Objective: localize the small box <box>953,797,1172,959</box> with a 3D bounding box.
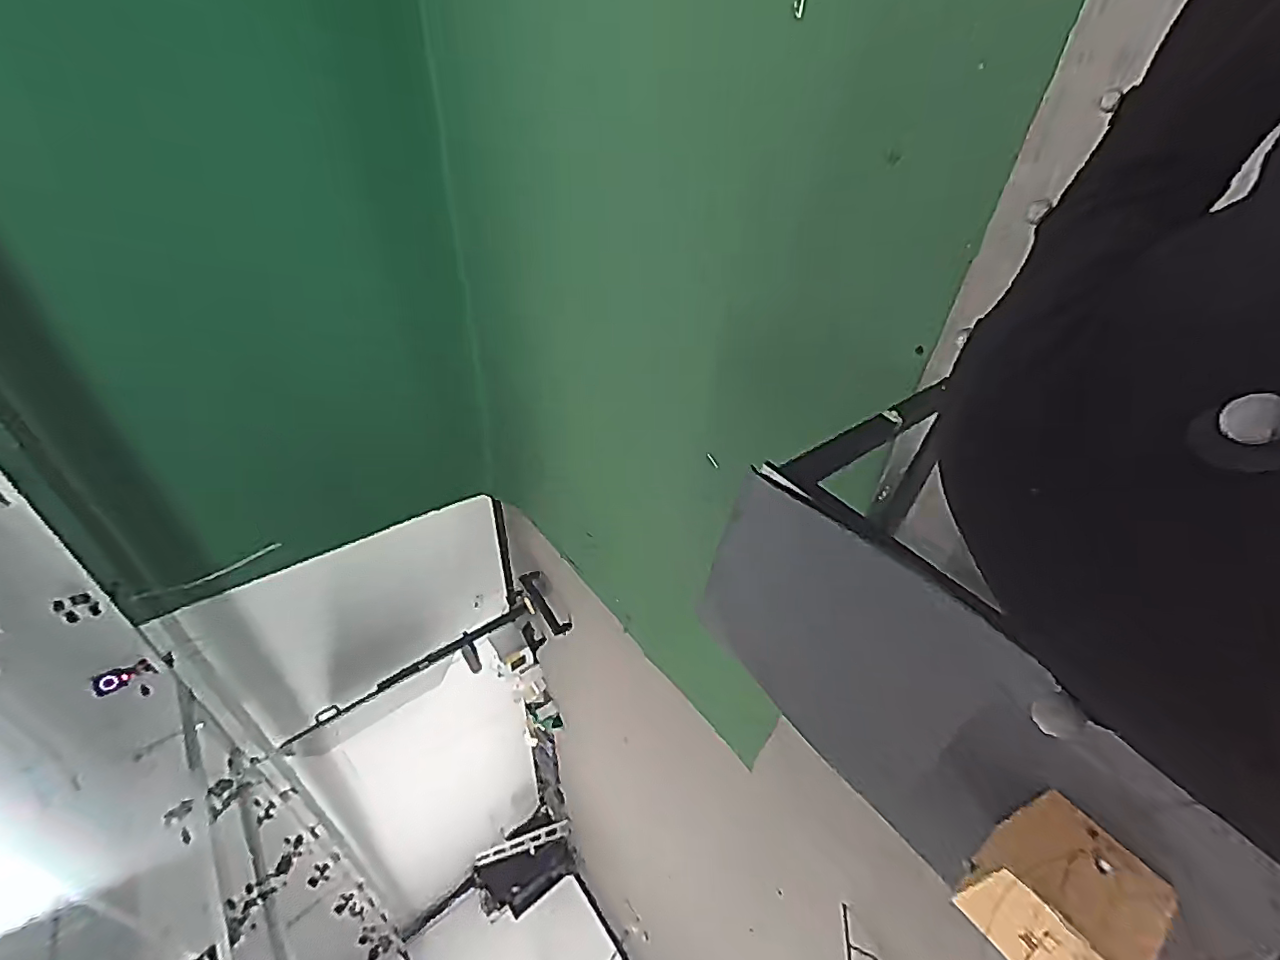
[{"bbox_3d":[0.605,0.608,0.782,0.168,0.176,0.179,42,141,34],"label":"small box"}]
